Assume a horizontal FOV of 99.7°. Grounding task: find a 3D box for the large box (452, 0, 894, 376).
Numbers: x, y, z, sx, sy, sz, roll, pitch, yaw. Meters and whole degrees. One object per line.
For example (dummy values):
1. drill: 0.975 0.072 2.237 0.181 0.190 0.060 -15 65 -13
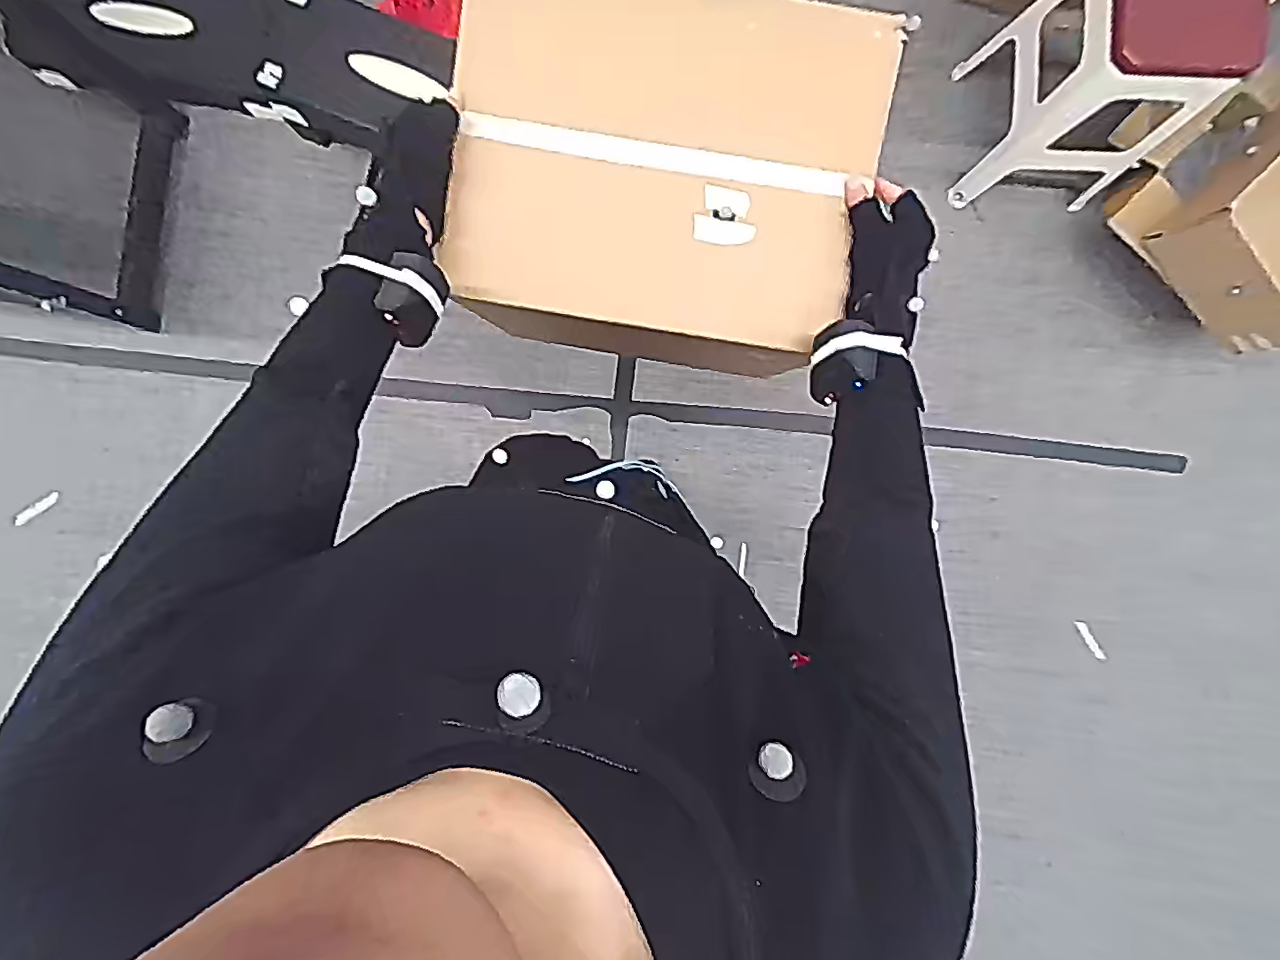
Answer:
1. large box: 0.024 -0.323 0.677 0.408 0.320 0.320 9 97 -2
